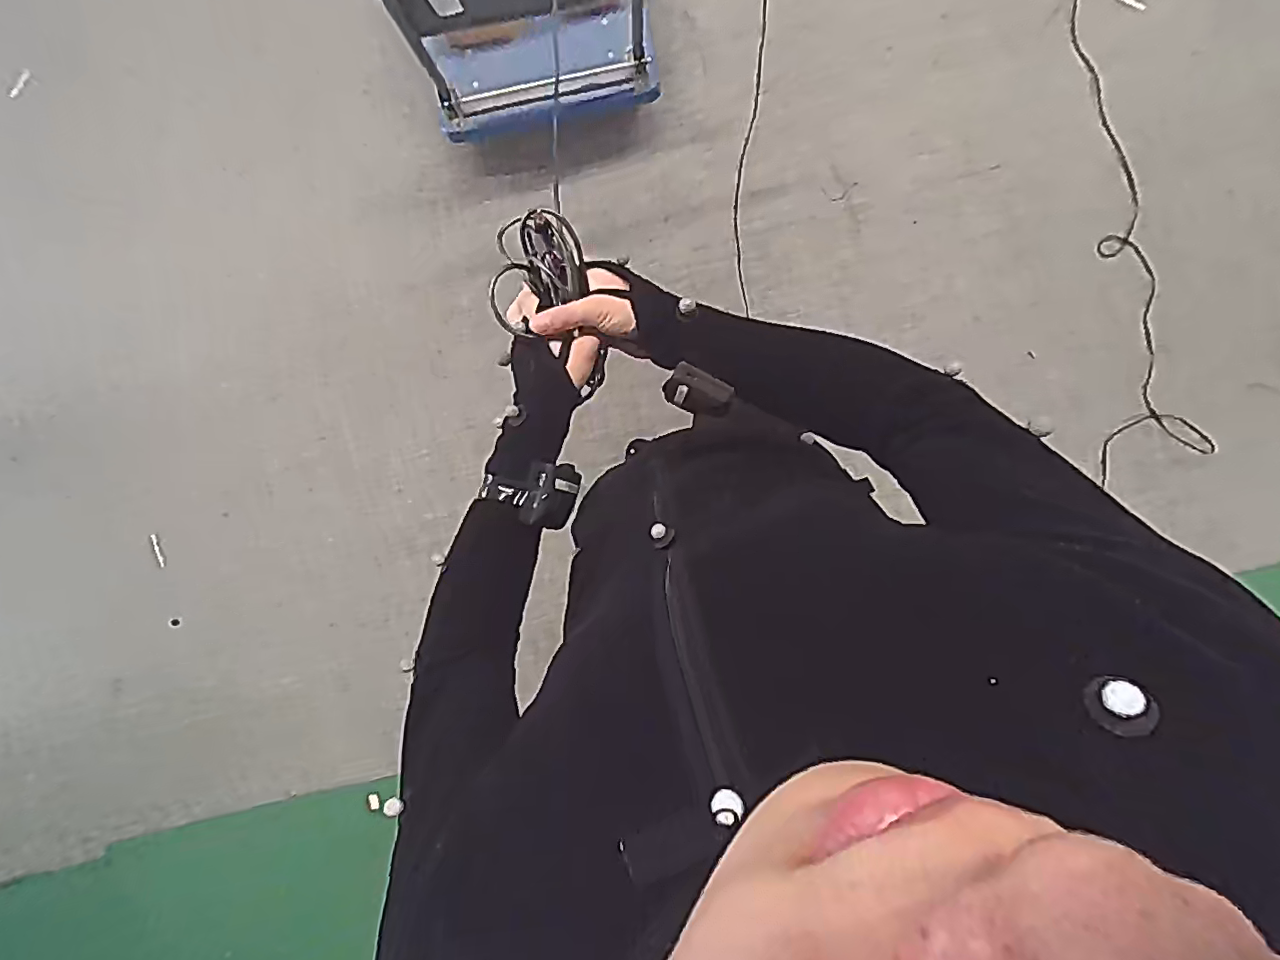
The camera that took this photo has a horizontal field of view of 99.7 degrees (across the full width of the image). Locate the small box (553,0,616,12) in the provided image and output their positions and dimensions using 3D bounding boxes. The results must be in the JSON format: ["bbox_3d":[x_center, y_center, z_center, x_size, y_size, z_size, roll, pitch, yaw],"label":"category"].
[{"bbox_3d":[-0.146,-1.251,1.254,0.168,0.176,0.179,-9,97,2],"label":"small box"}]
